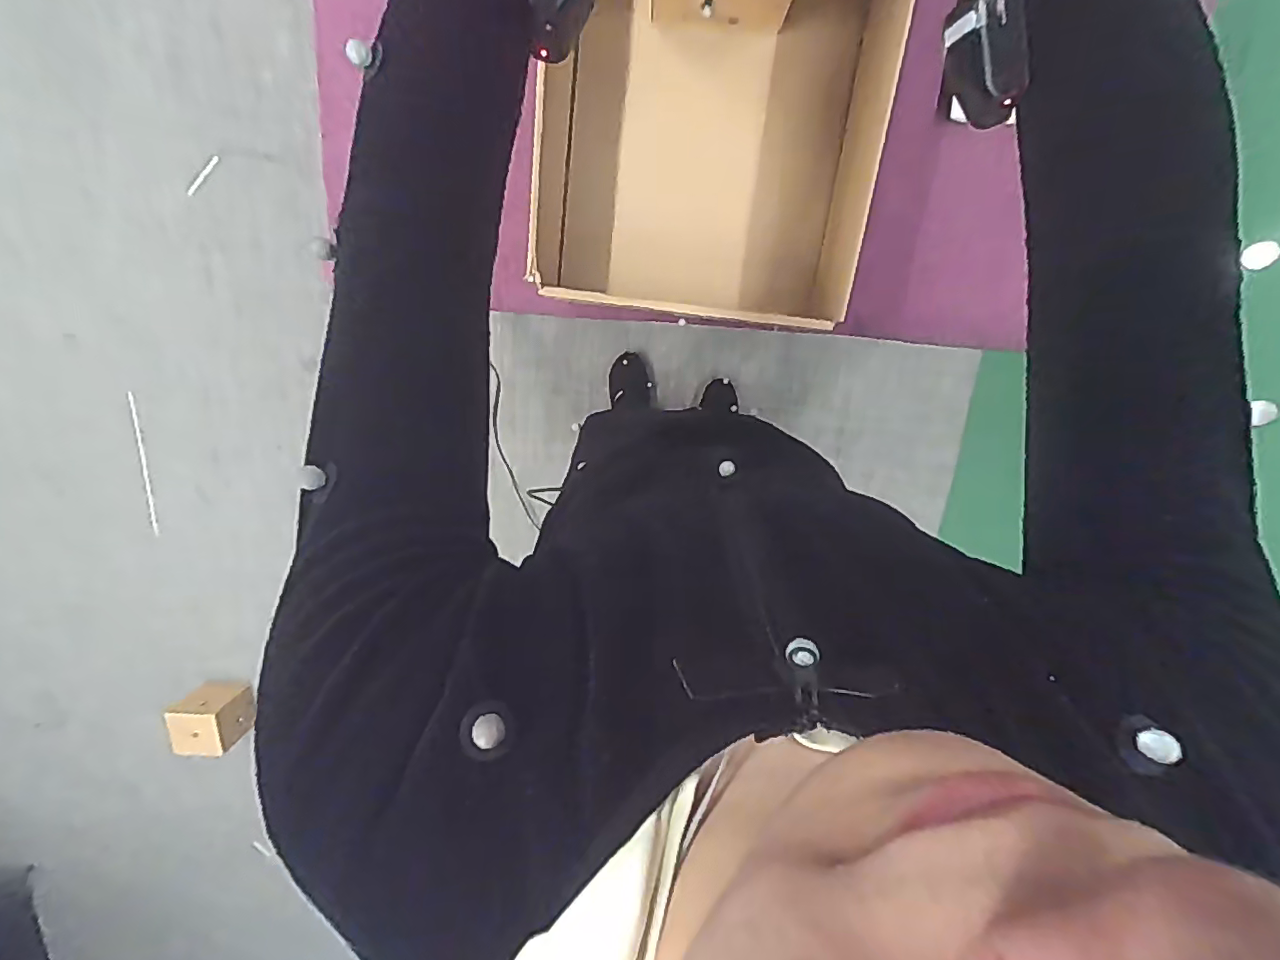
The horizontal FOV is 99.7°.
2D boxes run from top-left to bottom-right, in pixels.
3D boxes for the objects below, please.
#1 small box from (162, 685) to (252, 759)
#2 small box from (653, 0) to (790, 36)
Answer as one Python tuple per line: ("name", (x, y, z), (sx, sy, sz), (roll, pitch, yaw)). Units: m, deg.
("small box", (-1.474, 0.827, 1.859), (0.179, 0.176, 0.168), (2, 104, 2))
("small box", (0.100, -0.643, 0.599), (0.168, 0.176, 0.179), (4, 107, 1))
